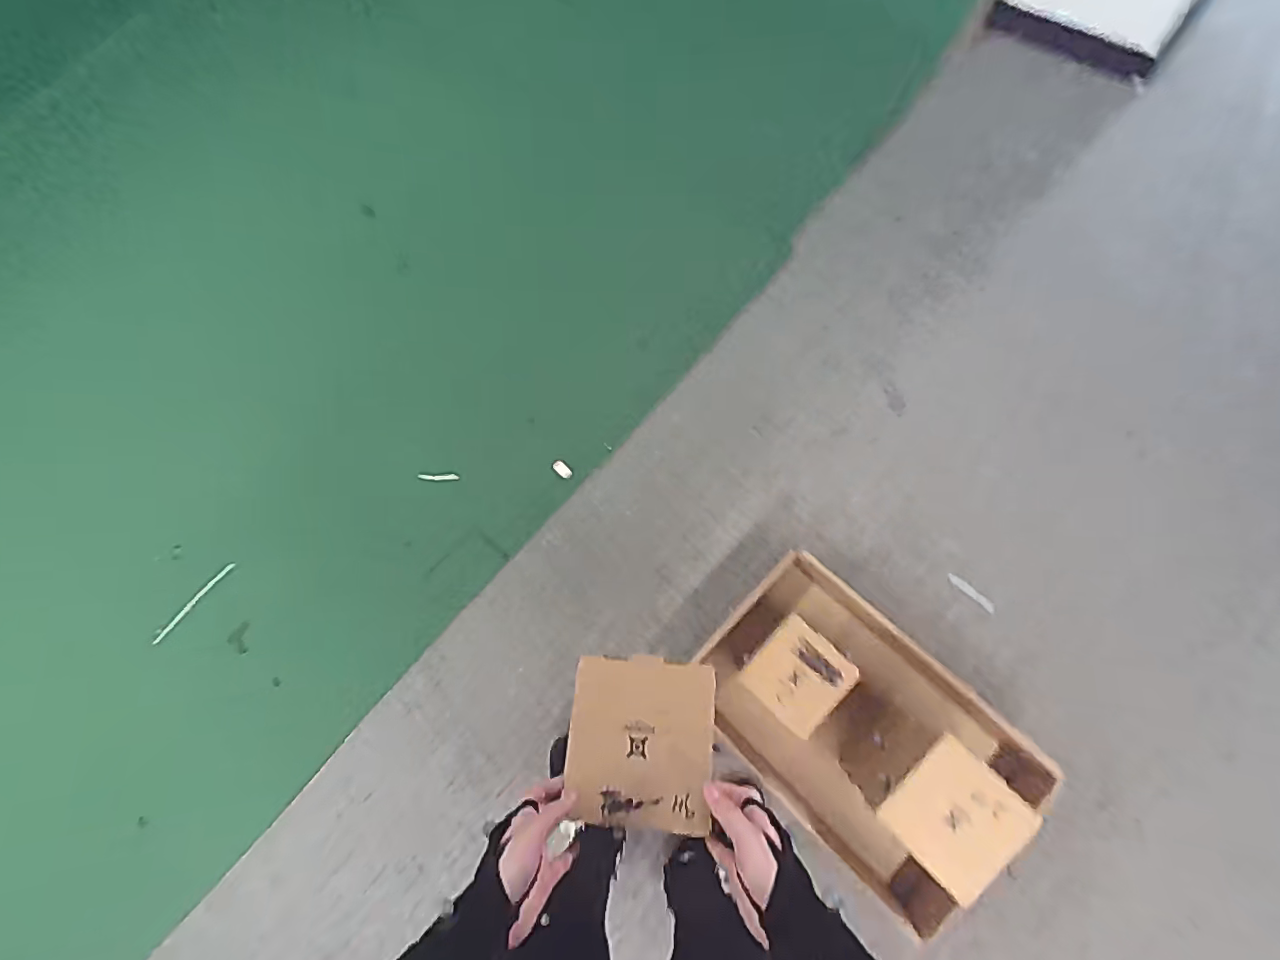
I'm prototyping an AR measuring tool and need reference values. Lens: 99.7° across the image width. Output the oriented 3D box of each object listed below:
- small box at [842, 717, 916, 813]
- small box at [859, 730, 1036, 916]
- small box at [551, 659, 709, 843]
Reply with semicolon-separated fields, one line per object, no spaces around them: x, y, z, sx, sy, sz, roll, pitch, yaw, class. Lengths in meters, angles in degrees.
0.515;0.592;1.049;0.179;0.176;0.168;-45;71;-4;small box
0.487;0.547;0.892;0.179;0.176;0.168;-44;71;-4;small box
0.000;0.336;0.682;0.168;0.176;0.179;1;63;9;small box
